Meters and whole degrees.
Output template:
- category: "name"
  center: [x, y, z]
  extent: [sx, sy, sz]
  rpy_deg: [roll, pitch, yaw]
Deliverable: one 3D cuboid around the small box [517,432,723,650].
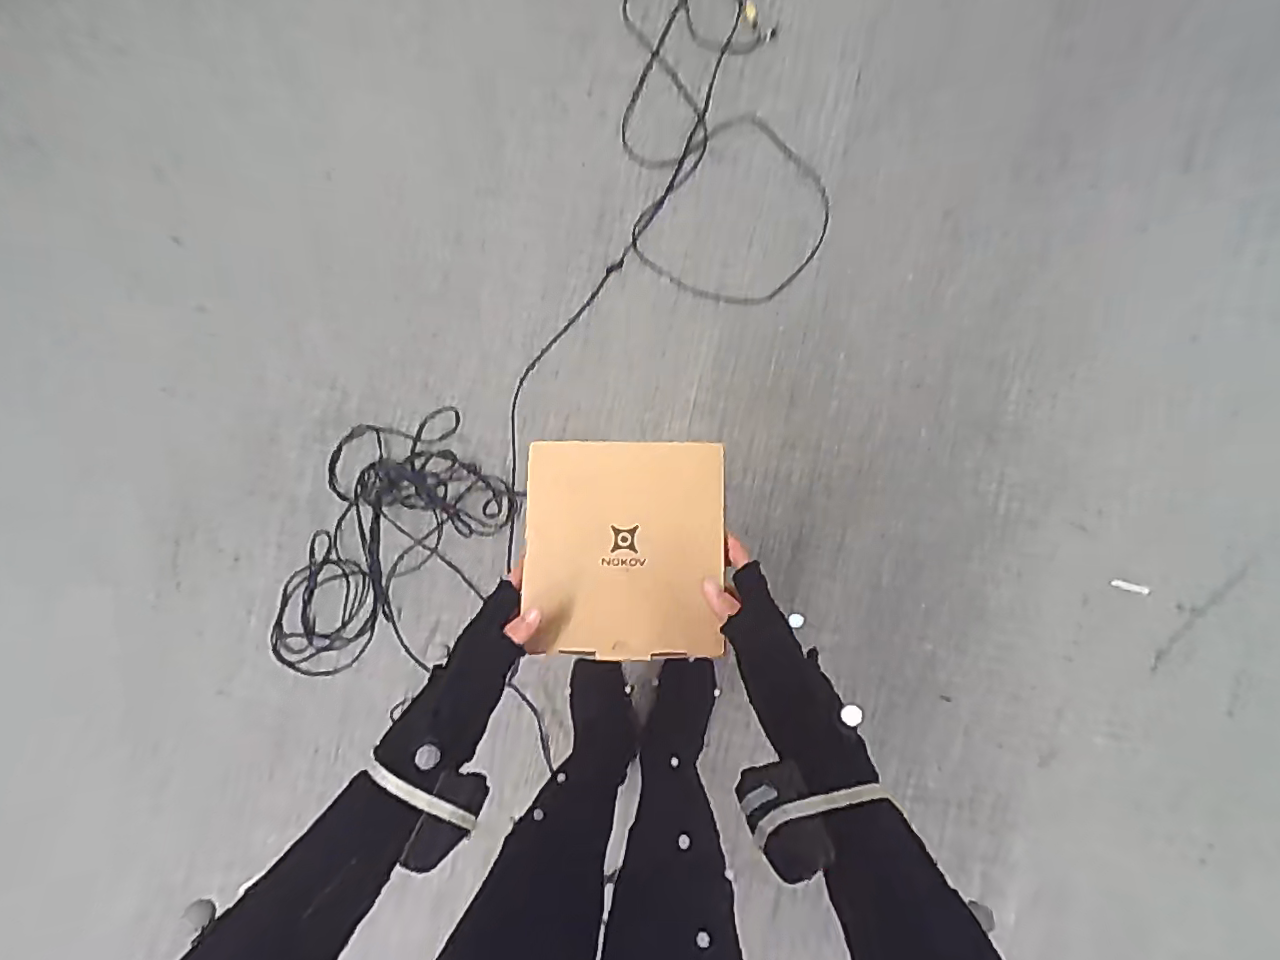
- category: "small box"
  center: [-0.013, 0.058, 0.518]
  extent: [0.168, 0.176, 0.179]
  rpy_deg: [0, 82, 2]
